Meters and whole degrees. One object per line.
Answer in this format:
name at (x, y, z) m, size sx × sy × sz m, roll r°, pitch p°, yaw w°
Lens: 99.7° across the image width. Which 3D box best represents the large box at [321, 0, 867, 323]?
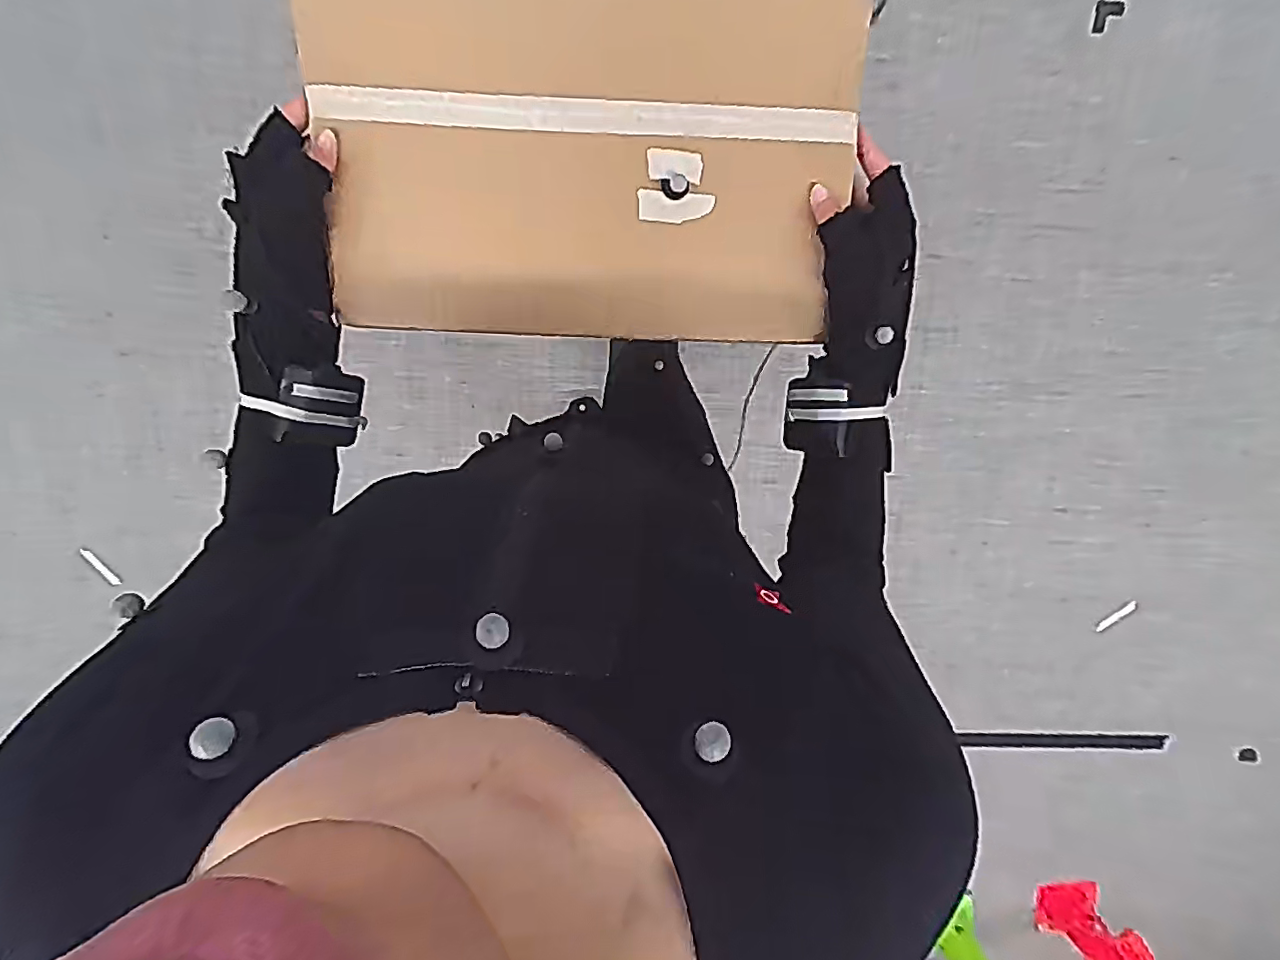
large box at (-0.040, -0.326, 0.554) m, size 0.408 × 0.320 × 0.320 m, roll 1°, pitch 107°, yaw -3°
